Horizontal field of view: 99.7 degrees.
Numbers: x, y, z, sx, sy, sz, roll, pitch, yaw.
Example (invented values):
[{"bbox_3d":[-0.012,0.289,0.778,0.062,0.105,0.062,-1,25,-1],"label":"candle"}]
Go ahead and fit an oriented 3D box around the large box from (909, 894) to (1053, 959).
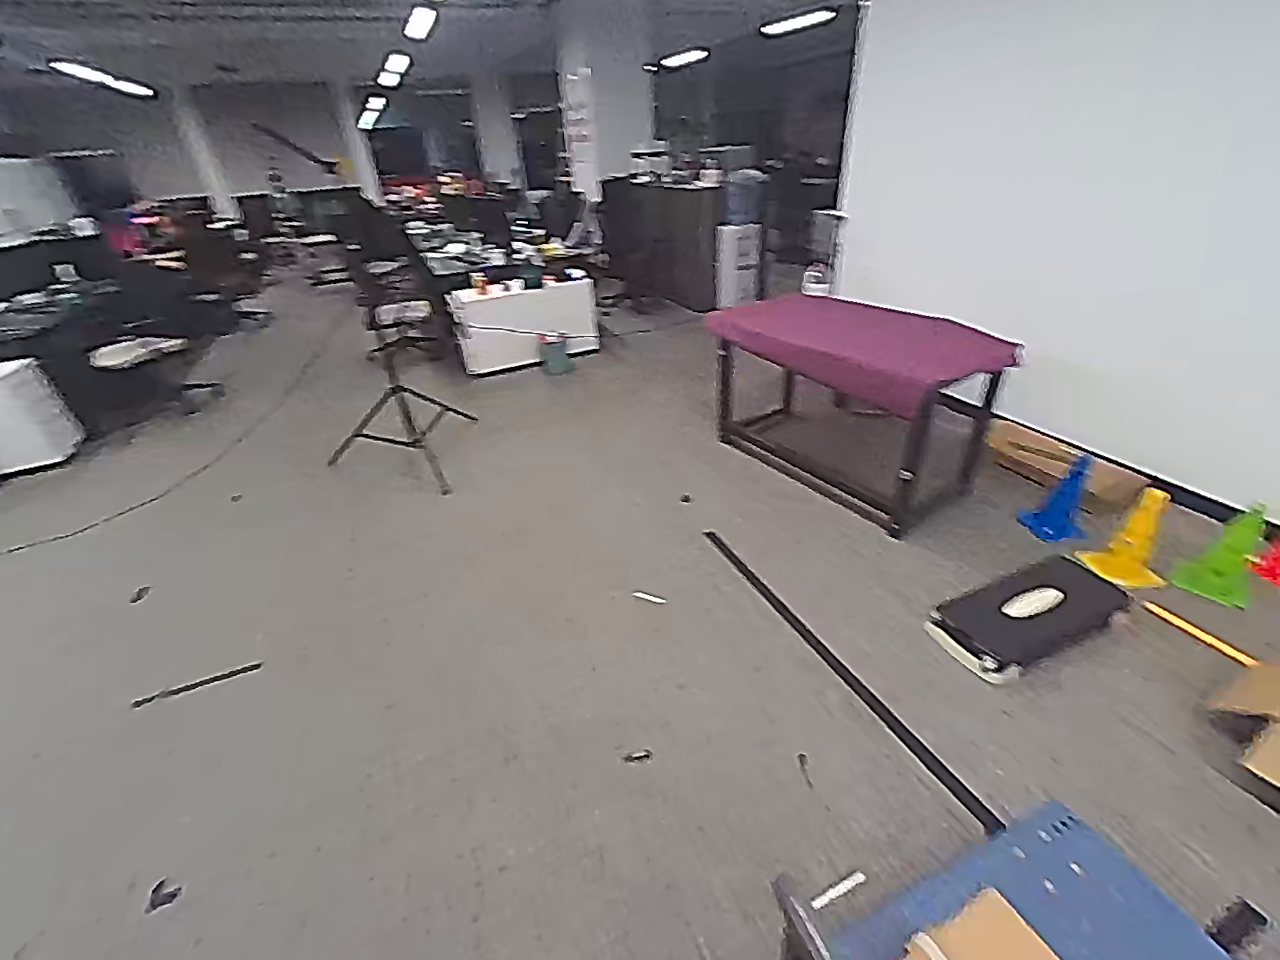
[{"bbox_3d":[0.529,0.924,0.753,0.320,0.320,0.408,-18,36,-20],"label":"large box"}]
